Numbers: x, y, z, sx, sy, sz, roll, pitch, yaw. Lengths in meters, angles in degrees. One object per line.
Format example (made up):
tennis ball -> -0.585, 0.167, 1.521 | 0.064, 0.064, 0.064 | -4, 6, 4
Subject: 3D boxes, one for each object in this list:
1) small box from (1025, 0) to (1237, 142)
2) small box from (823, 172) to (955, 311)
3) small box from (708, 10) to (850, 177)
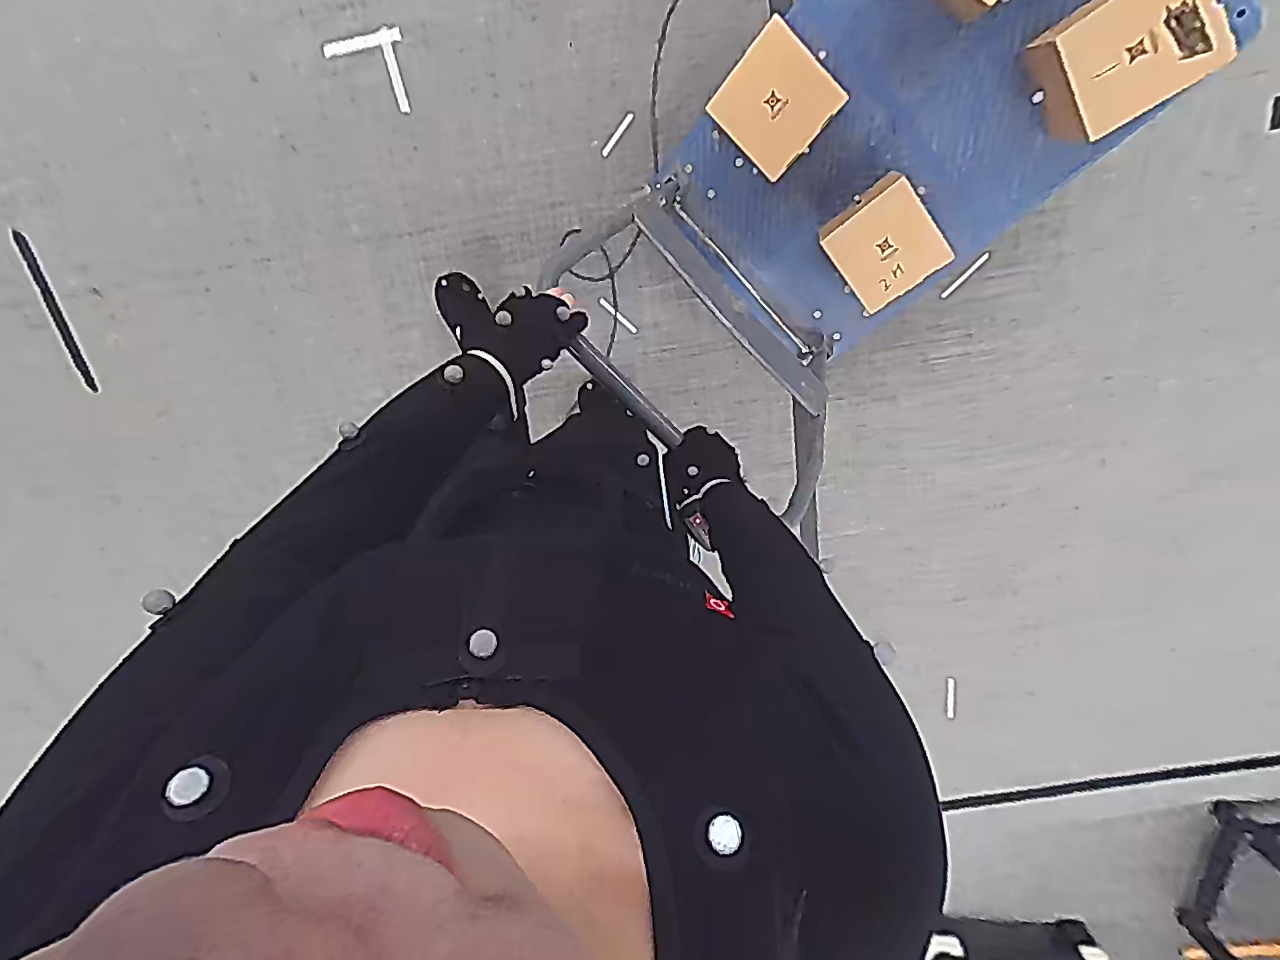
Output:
small box -> 0.739, -0.659, 0.832 | 0.179, 0.176, 0.168 | -26, 111, 30
small box -> 0.468, -0.463, 1.043 | 0.168, 0.176, 0.179 | -33, 108, 32
small box -> 0.248, -0.680, 0.971 | 0.179, 0.176, 0.168 | 40, 124, -12
